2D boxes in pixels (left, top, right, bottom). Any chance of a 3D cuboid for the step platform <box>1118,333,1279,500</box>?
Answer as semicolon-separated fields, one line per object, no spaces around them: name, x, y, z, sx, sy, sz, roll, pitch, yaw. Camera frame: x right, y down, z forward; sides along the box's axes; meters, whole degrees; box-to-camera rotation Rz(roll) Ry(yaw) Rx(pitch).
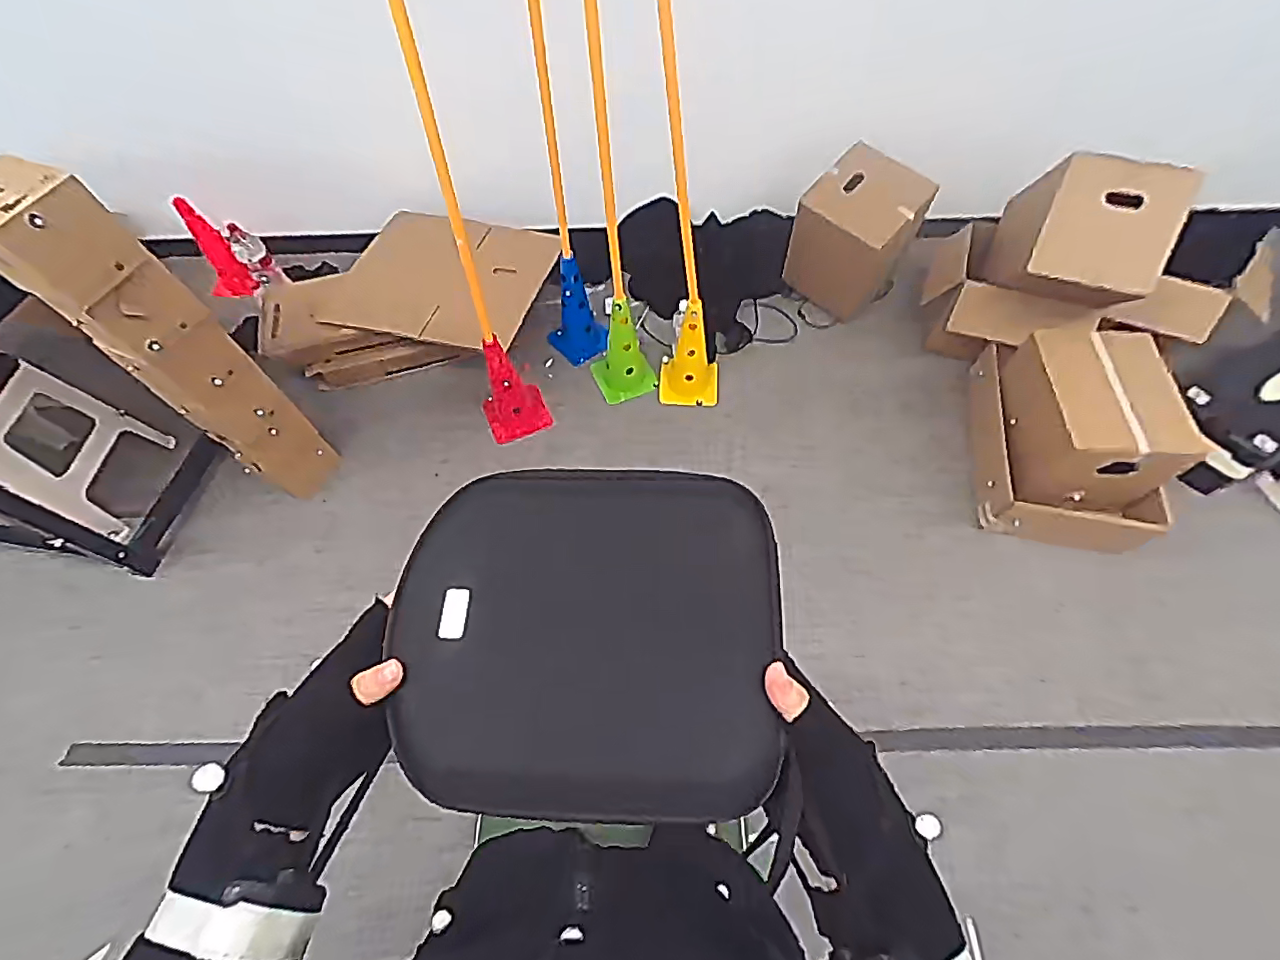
step platform;1.890;-0.213;1.691;0.684;0.204;0.286;-26;63;-13
